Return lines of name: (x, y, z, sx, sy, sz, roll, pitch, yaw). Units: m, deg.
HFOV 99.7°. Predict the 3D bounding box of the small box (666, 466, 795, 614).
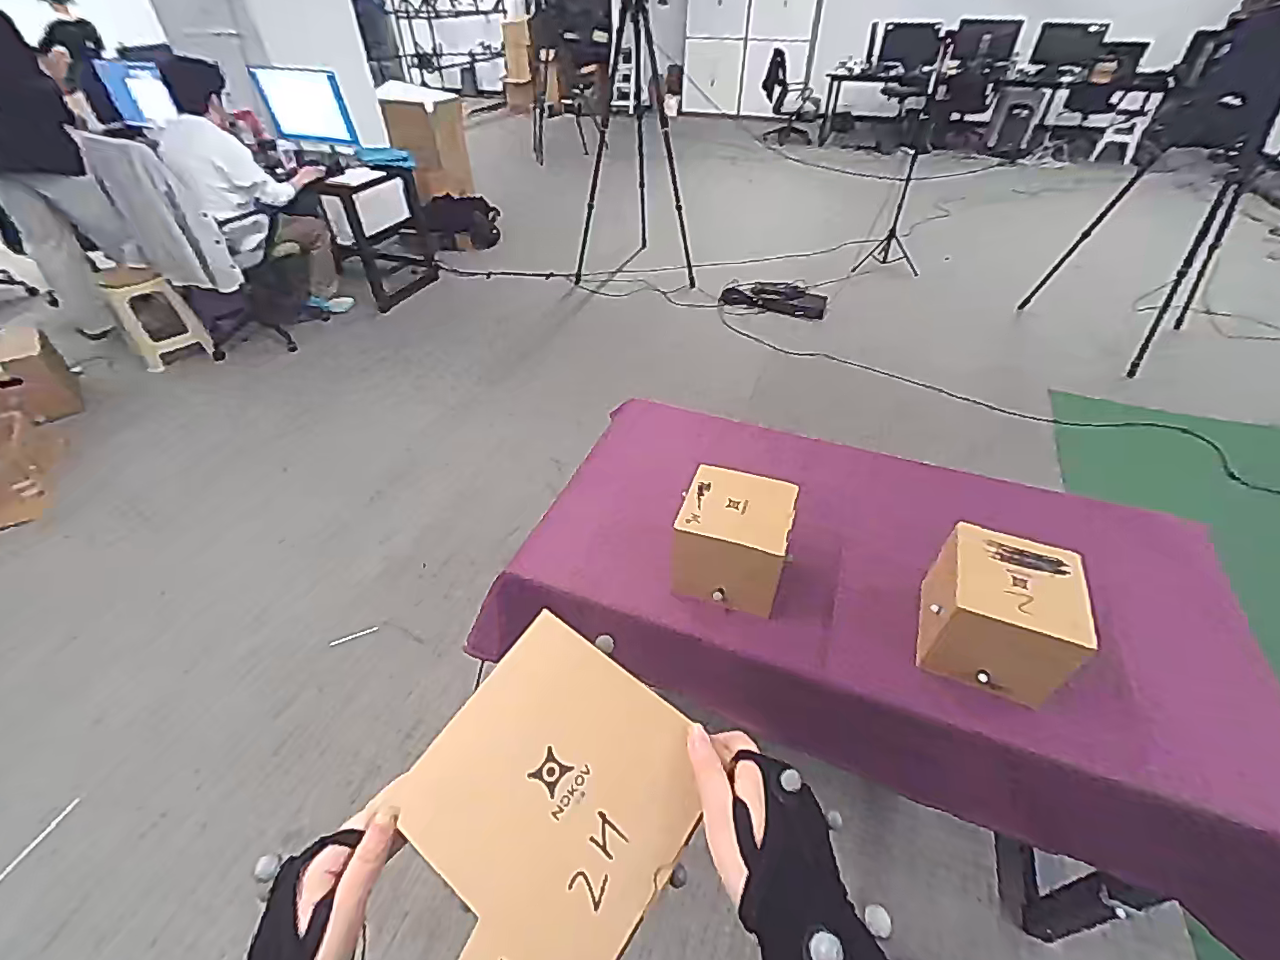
small box: (0.153, 0.106, 0.933, 0.179, 0.176, 0.168, 14, 44, 14)
